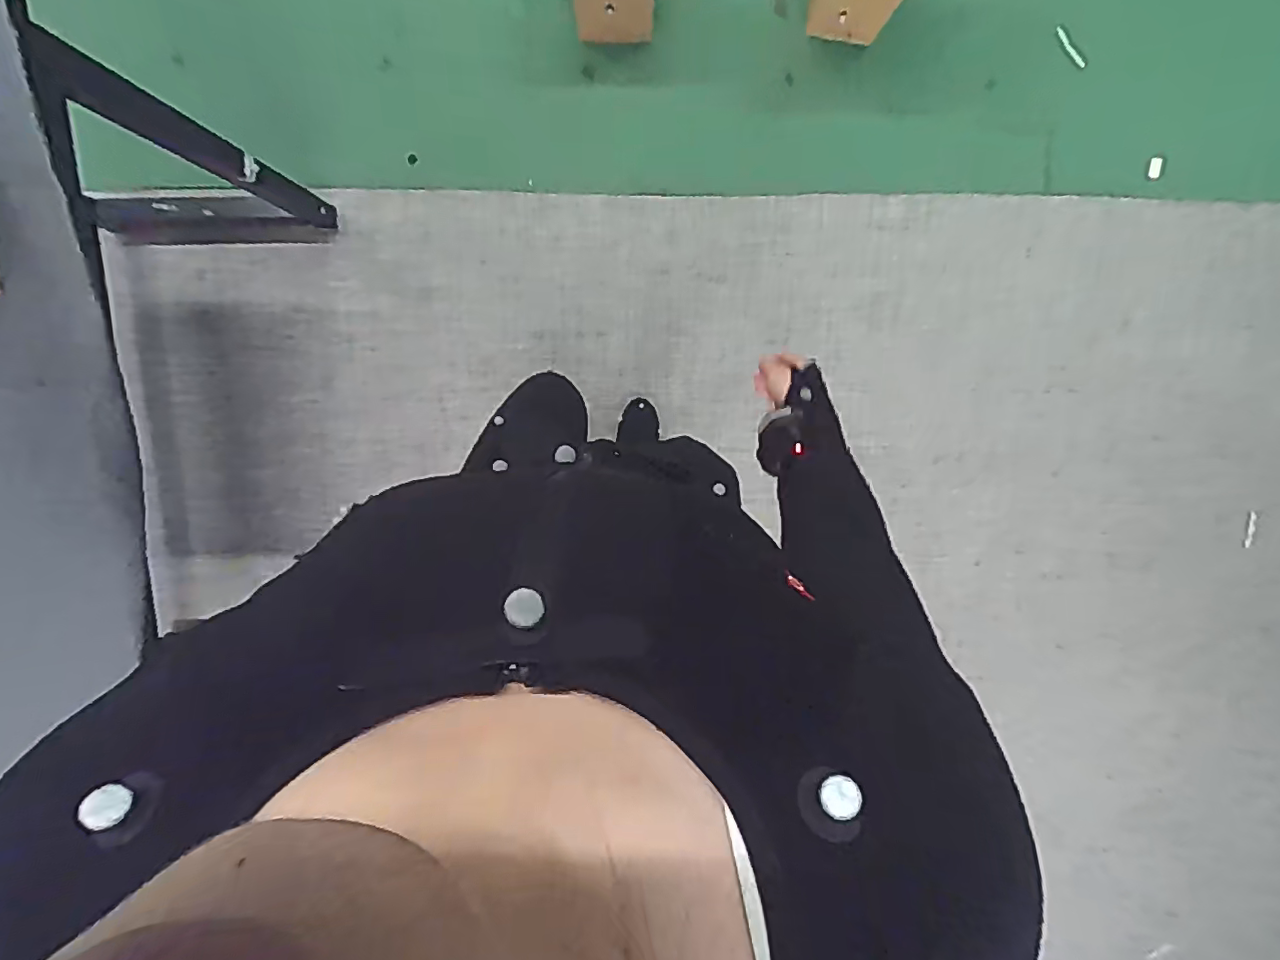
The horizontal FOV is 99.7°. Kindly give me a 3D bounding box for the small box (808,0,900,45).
[{"bbox_3d":[0.495,-1.141,1.229,0.168,0.176,0.179,7,99,-3],"label":"small box"}]

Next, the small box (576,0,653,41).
[{"bbox_3d":[-0.058,-1.127,1.214,0.179,0.176,0.168,-1,100,-1],"label":"small box"}]
